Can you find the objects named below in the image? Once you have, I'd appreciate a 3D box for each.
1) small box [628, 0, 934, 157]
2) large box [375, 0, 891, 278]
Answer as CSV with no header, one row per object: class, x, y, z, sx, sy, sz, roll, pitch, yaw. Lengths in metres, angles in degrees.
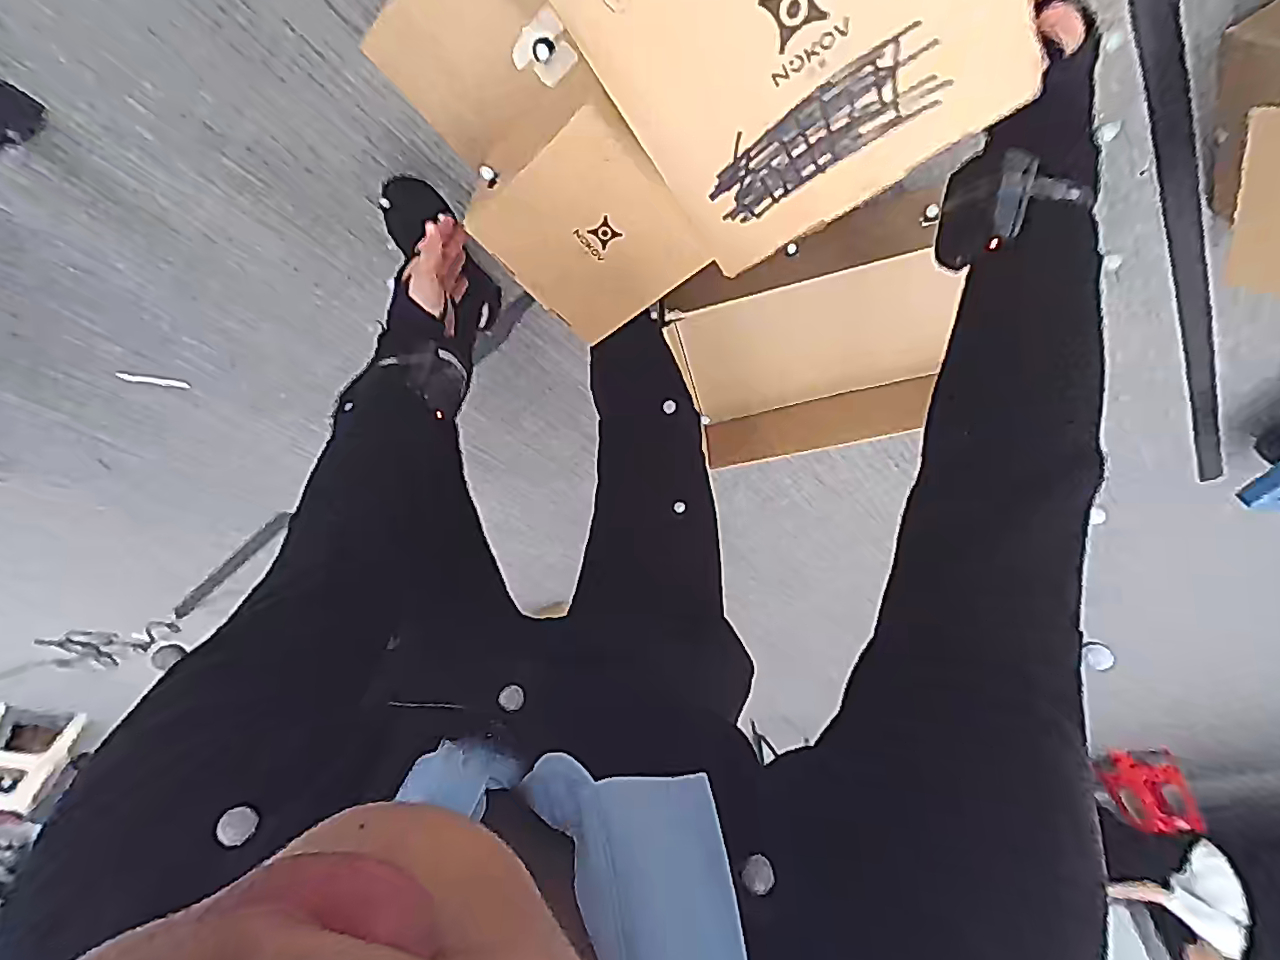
small box,0.076,-0.384,0.381,0.168,0.176,0.179,-24,135,28
large box,-0.005,-0.526,0.595,0.408,0.320,0.320,-27,132,29
